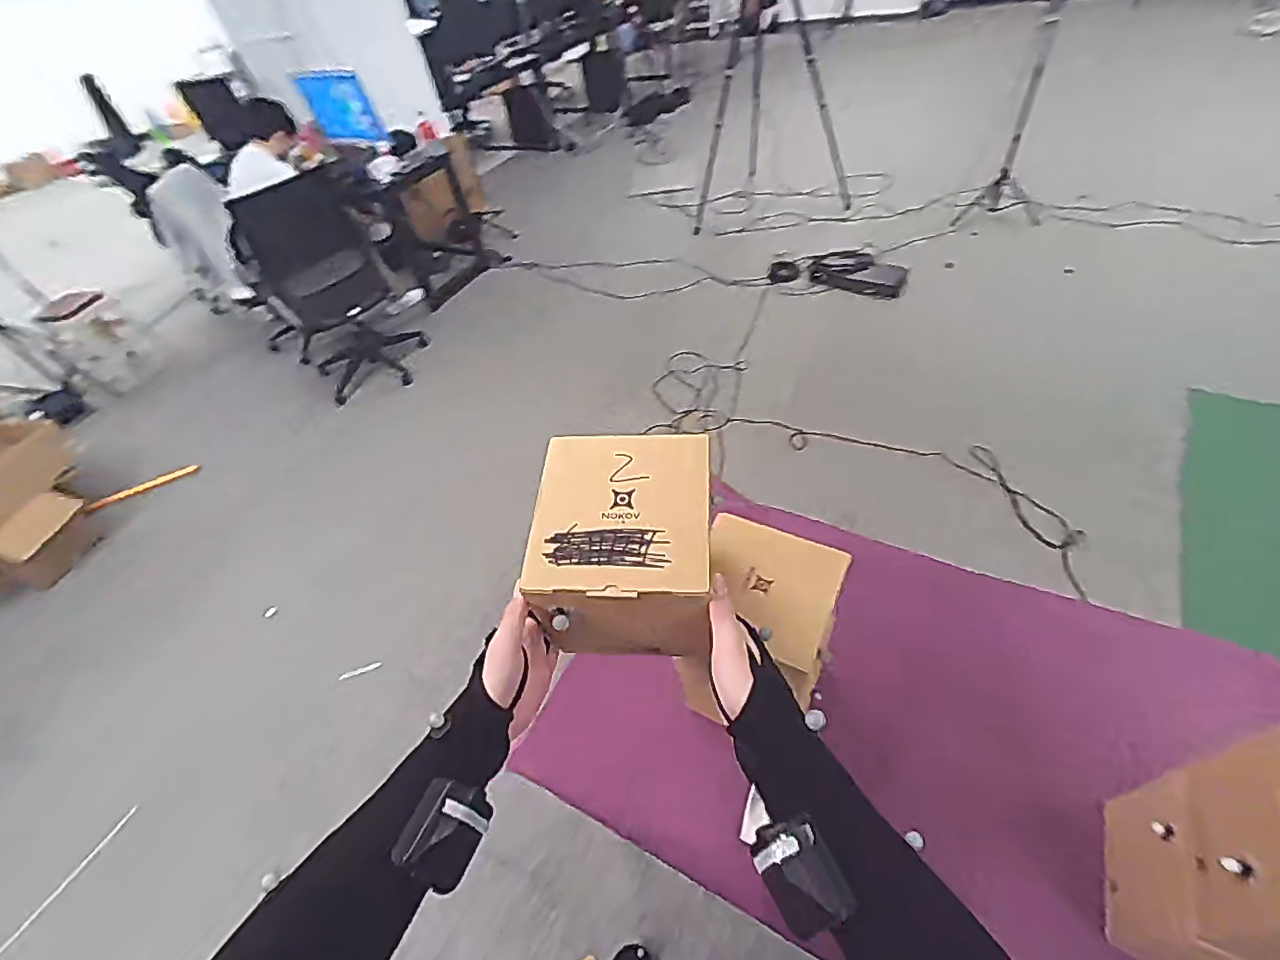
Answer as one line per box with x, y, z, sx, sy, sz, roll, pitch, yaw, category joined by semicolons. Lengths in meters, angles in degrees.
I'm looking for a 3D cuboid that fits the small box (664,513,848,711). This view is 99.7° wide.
0.153;0.177;0.711;0.179;0.176;0.168;18;55;26;small box

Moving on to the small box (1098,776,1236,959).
0.641;0.457;0.580;0.179;0.176;0.168;17;54;25;small box

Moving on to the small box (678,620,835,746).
0.179;0.281;0.832;0.179;0.176;0.168;19;55;25;small box
